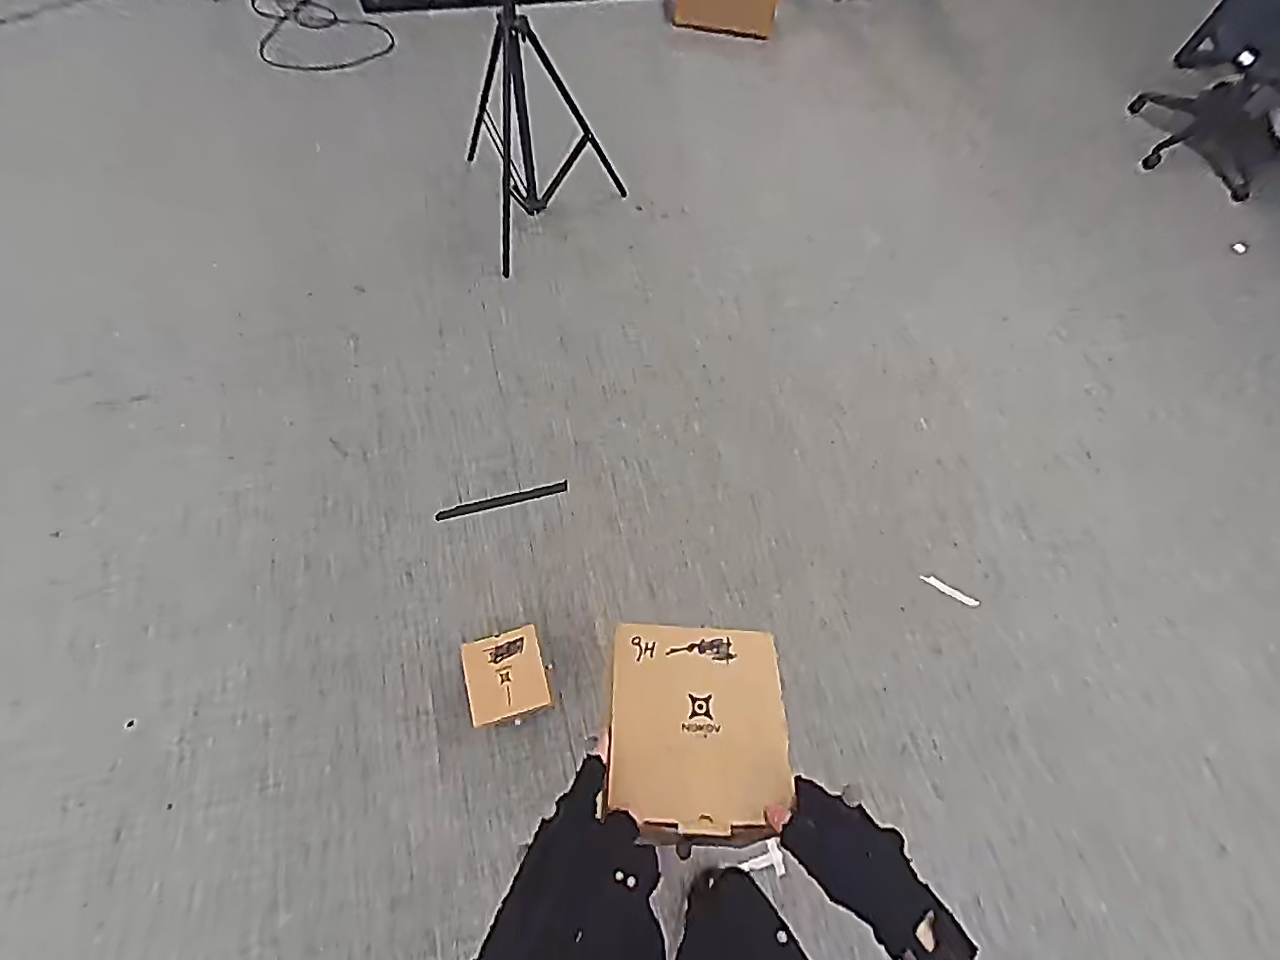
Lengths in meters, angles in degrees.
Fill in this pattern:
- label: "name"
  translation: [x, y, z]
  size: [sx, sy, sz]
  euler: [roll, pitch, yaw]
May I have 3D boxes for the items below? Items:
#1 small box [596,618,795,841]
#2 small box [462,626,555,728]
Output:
- label: "small box"
  translation: [0.044, 0.263, 0.560]
  size: [0.168, 0.176, 0.179]
  euler: [5, 52, -5]
- label: "small box"
  translation: [-0.296, 0.452, 1.231]
  size: [0.168, 0.176, 0.179]
  euler: [-14, 68, -10]
